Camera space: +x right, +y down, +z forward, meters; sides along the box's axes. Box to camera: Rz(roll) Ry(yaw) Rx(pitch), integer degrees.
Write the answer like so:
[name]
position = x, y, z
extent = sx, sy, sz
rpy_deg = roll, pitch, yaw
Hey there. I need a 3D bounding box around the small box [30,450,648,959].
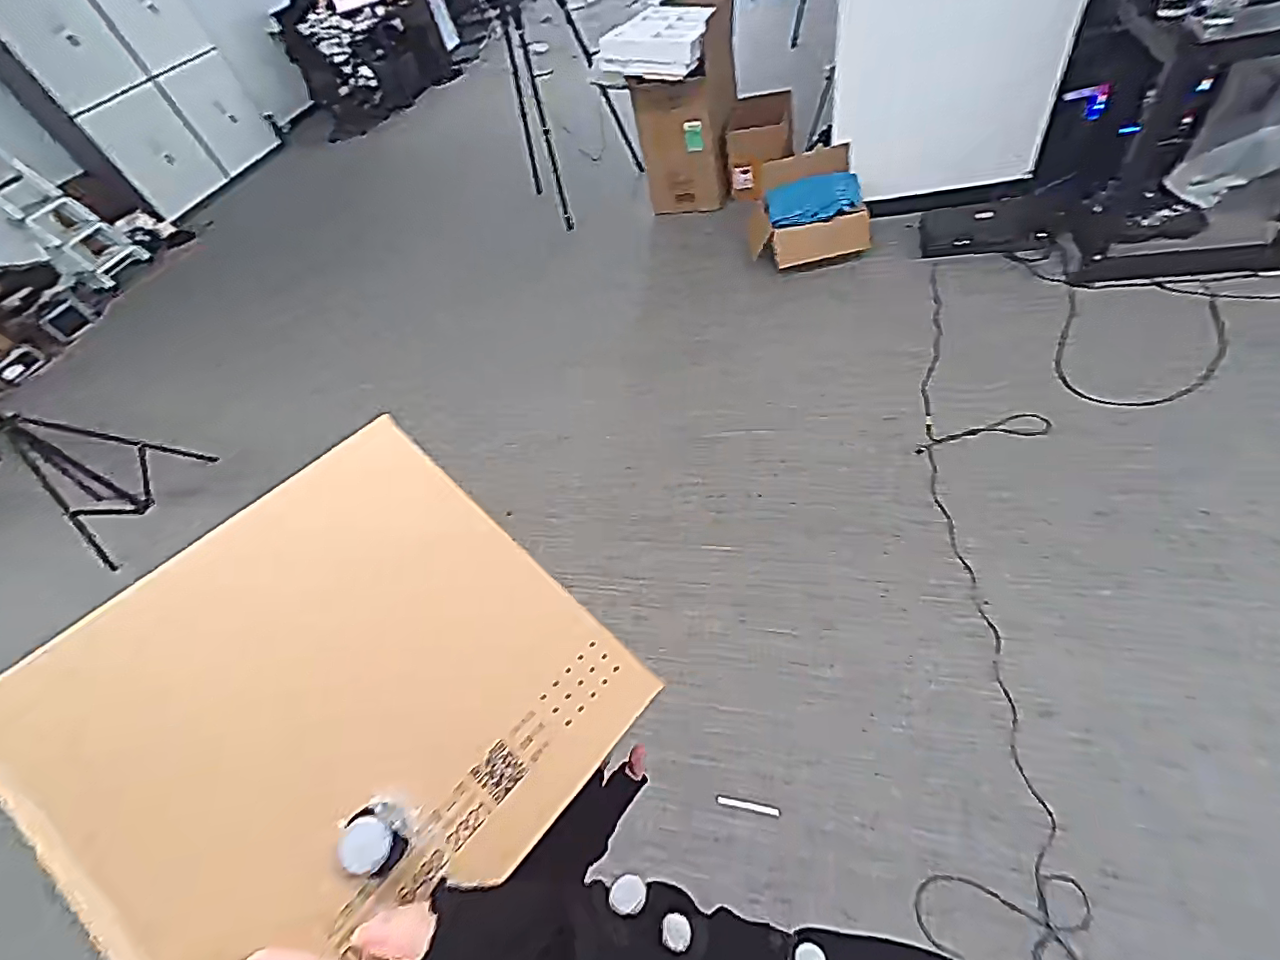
[small box]
position = -0.115, 0.124, 0.281
extent = 0.176, 0.179, 0.168
rpy_deg = 40, 67, 11
